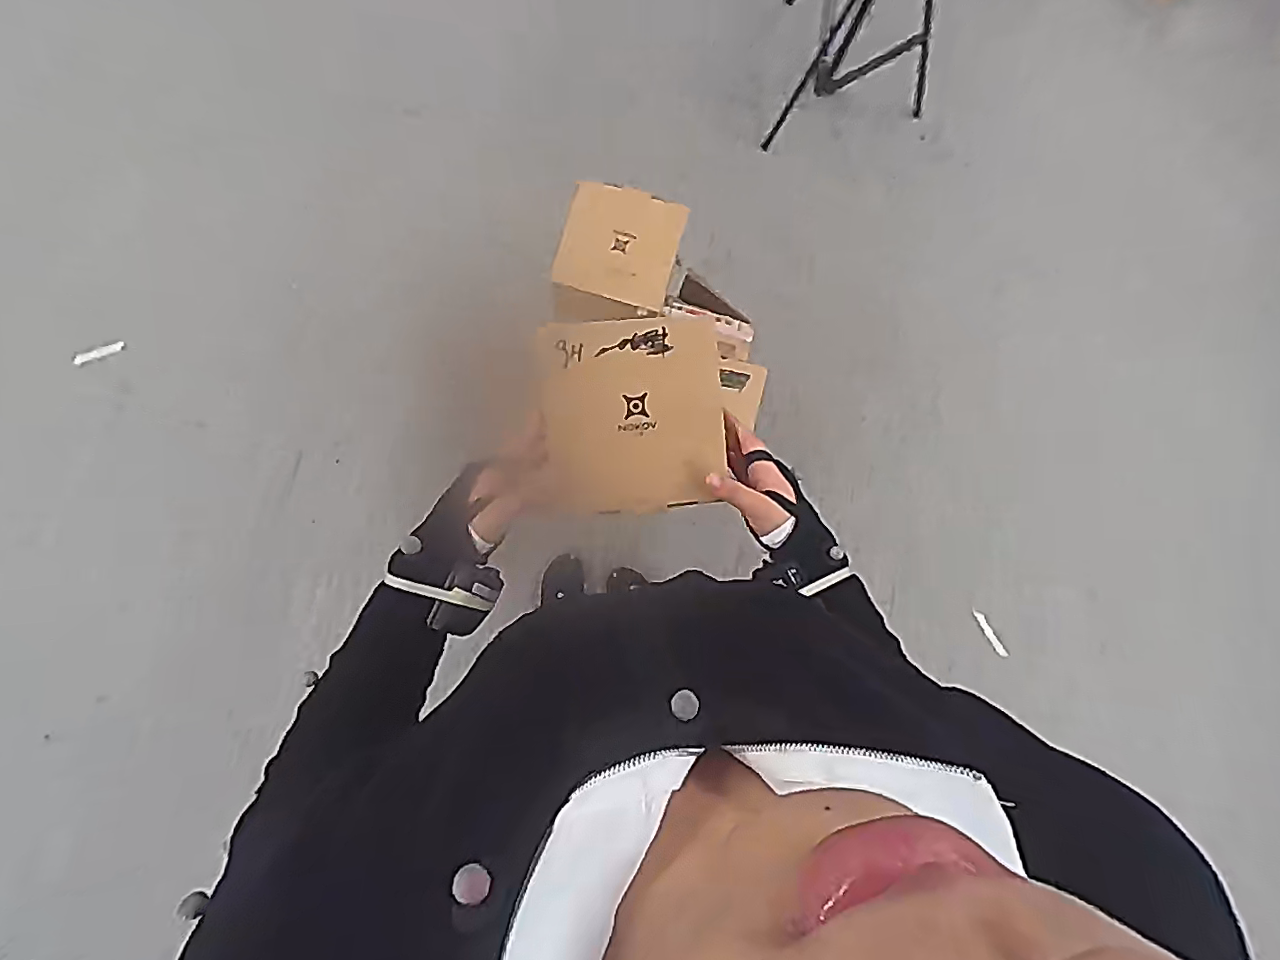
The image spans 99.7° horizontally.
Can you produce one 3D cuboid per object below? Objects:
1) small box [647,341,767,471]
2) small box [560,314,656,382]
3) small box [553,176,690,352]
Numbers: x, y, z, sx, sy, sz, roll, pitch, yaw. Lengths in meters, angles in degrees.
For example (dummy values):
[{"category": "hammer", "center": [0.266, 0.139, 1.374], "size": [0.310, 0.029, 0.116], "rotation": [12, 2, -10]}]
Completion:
[{"category": "small box", "center": [0.116, -0.129, 1.013], "size": [0.168, 0.176, 0.179], "rotation": [16, 81, -4]}, {"category": "small box", "center": [-0.047, -0.309, 1.021], "size": [0.168, 0.176, 0.179], "rotation": [16, 81, -2]}, {"category": "small box", "center": [-0.031, -0.332, 0.861], "size": [0.168, 0.176, 0.179], "rotation": [15, 81, -2]}]
